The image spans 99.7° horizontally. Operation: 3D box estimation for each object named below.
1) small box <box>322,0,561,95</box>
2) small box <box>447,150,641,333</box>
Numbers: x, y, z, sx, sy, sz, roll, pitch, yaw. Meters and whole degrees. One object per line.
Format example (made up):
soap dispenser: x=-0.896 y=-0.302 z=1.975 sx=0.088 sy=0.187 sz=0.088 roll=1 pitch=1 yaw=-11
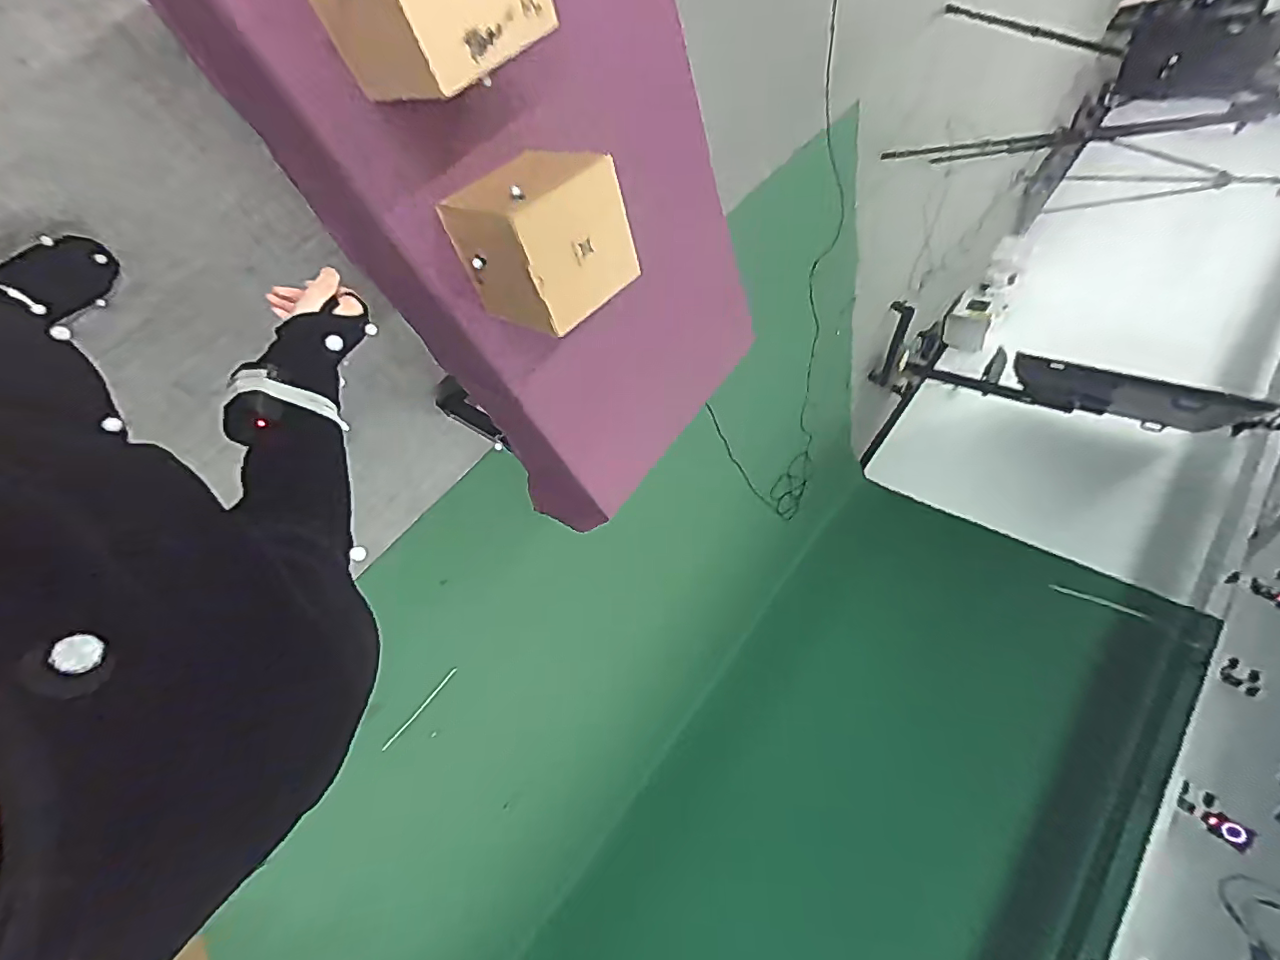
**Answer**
small box: x=-0.215 y=-0.508 z=0.526 sx=0.168 sy=0.176 sz=0.179 roll=-48 pitch=142 yaw=-18
small box: x=-0.130 y=-0.339 z=0.755 sx=0.179 sy=0.176 sz=0.168 roll=-45 pitch=142 yaw=-22
